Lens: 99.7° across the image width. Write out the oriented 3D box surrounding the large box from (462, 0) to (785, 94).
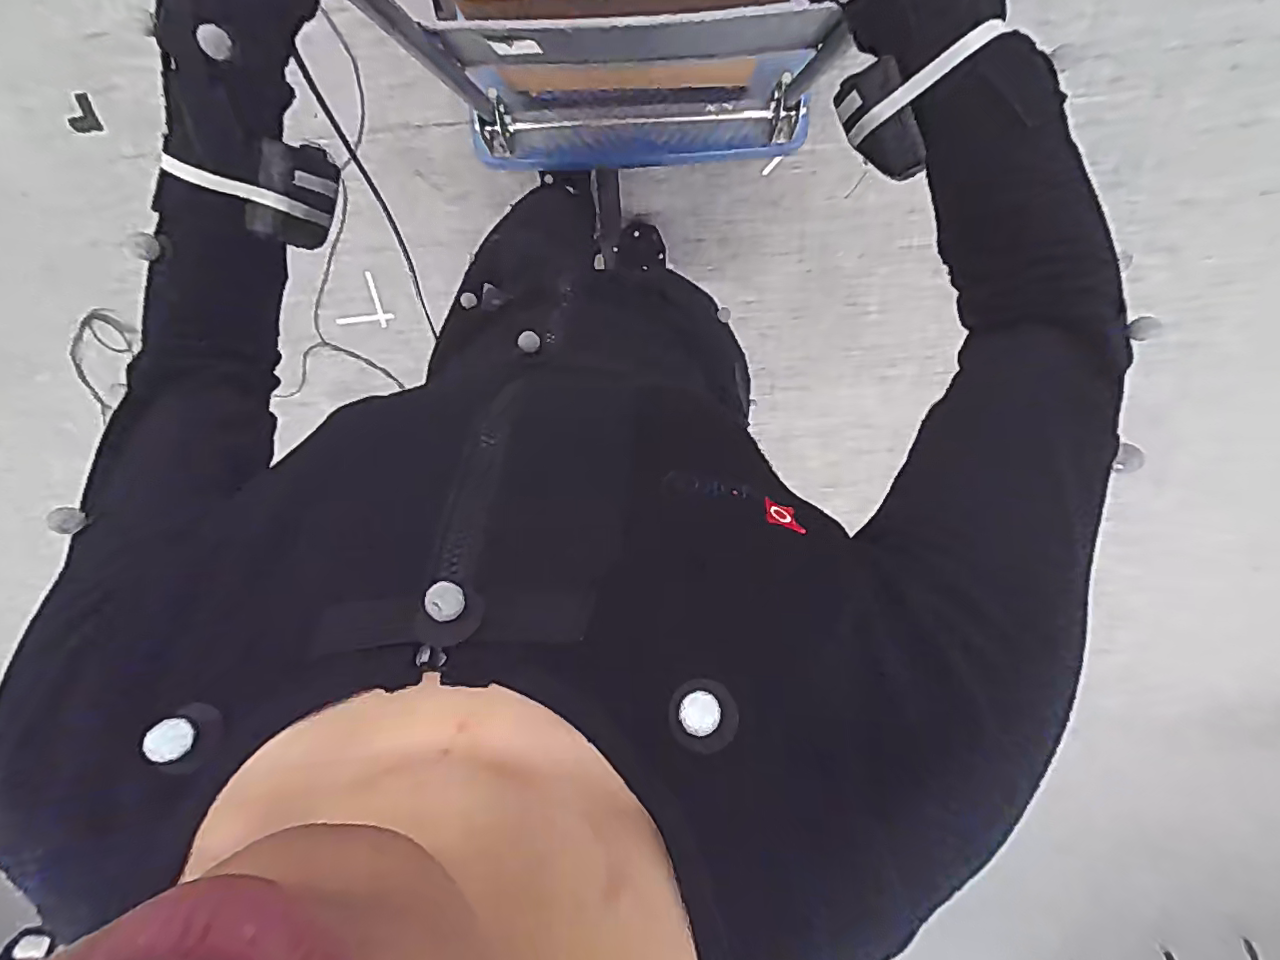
[{"bbox_3d":[-0.023,-0.759,0.727,0.408,0.320,0.320,-2,110,0],"label":"large box"}]
